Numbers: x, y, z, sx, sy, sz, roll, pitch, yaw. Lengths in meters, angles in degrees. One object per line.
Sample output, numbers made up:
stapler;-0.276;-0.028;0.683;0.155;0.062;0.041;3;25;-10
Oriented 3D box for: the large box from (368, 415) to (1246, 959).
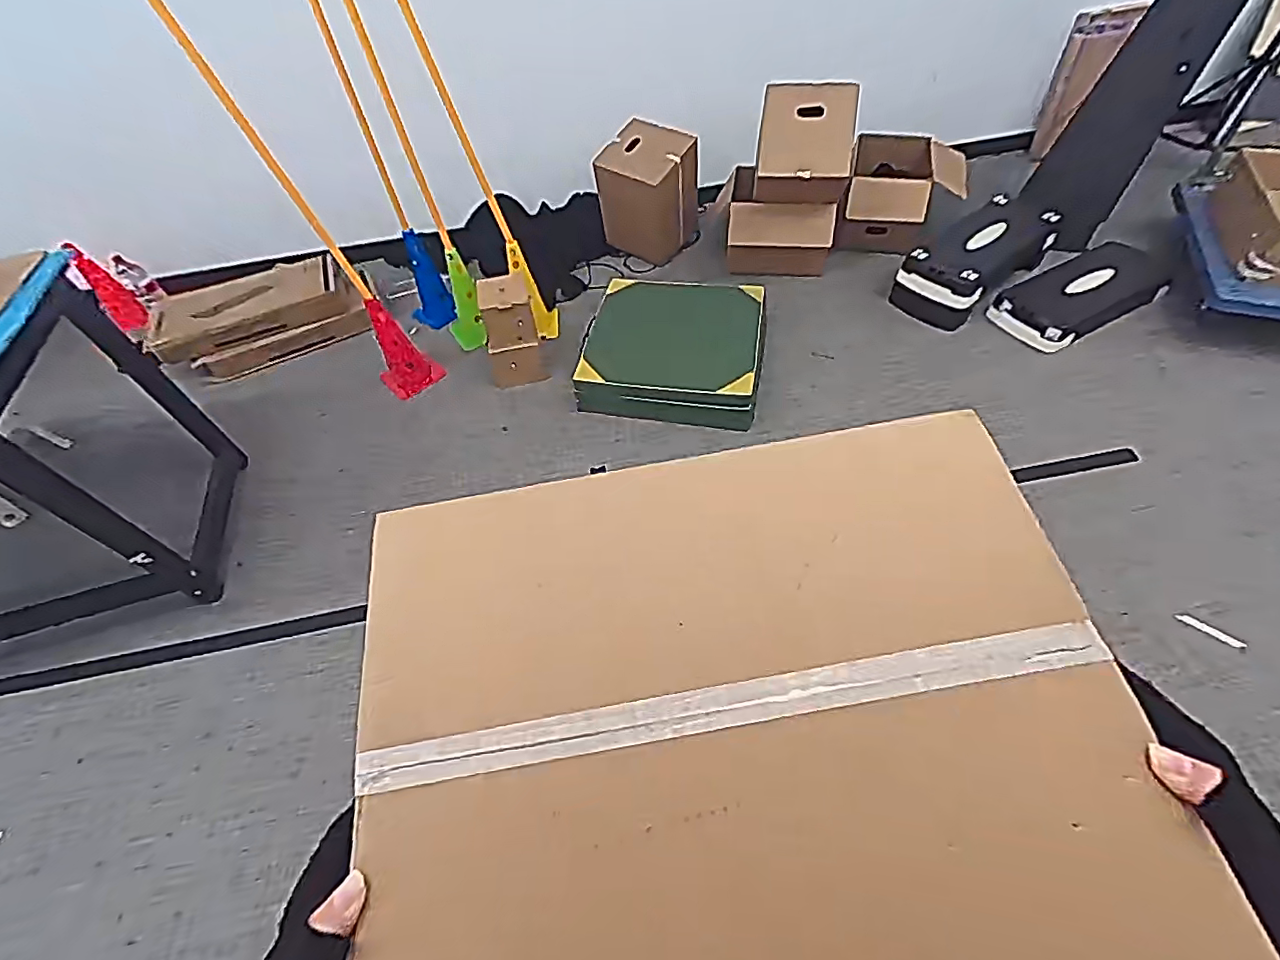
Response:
large box;0.060;0.193;0.435;0.408;0.320;0.320;-10;63;0
